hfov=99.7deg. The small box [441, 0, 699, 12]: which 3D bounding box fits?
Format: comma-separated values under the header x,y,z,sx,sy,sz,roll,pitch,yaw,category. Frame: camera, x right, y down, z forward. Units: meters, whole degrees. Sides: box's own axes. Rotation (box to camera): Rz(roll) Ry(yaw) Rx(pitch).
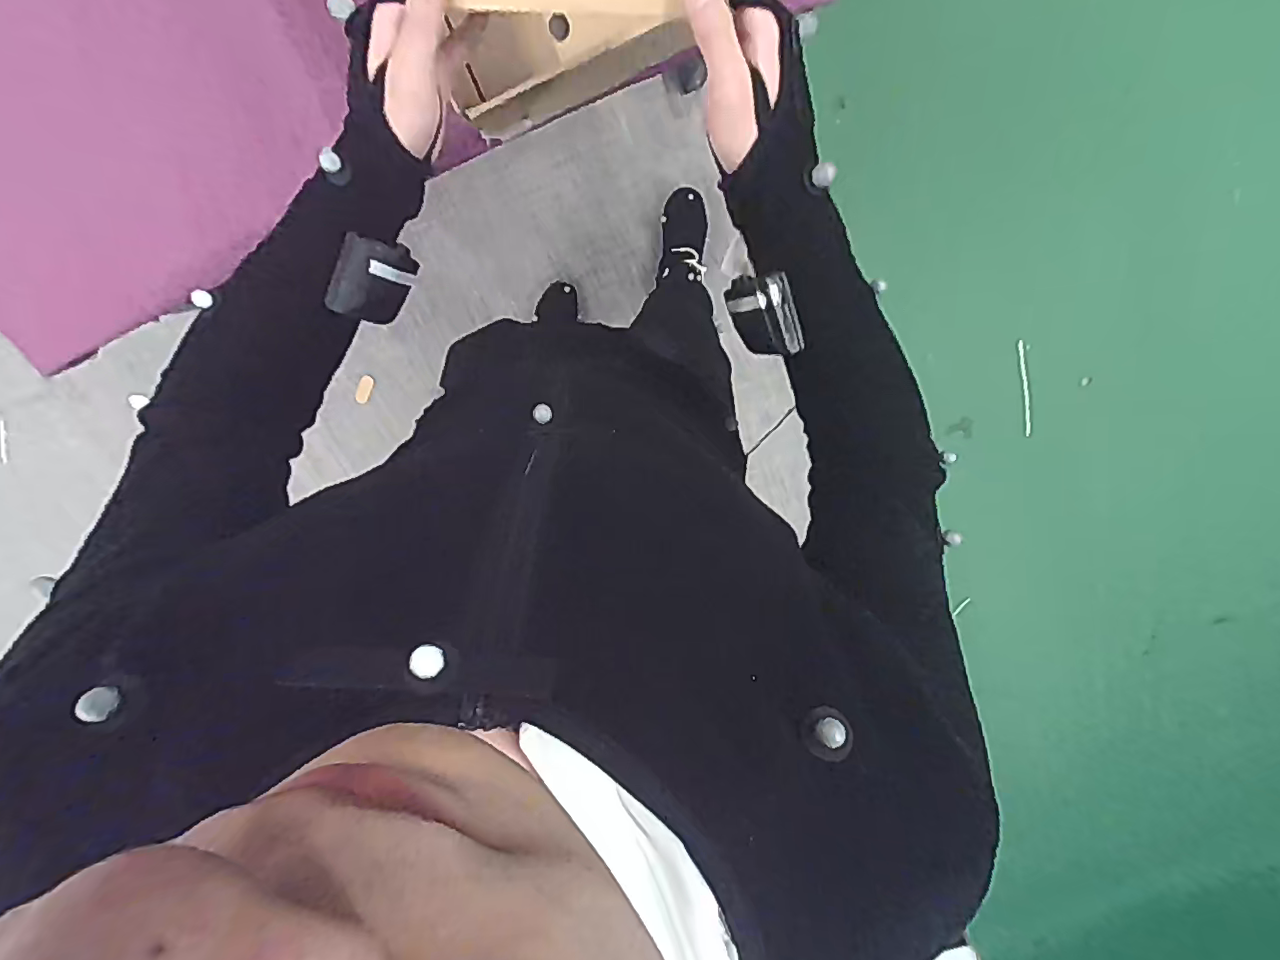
x,y,z,sx,sy,sz,roll,pitch,yaw,category
-0.034,-0.403,0.327,0.168,0.176,0.179,6,131,5,small box
